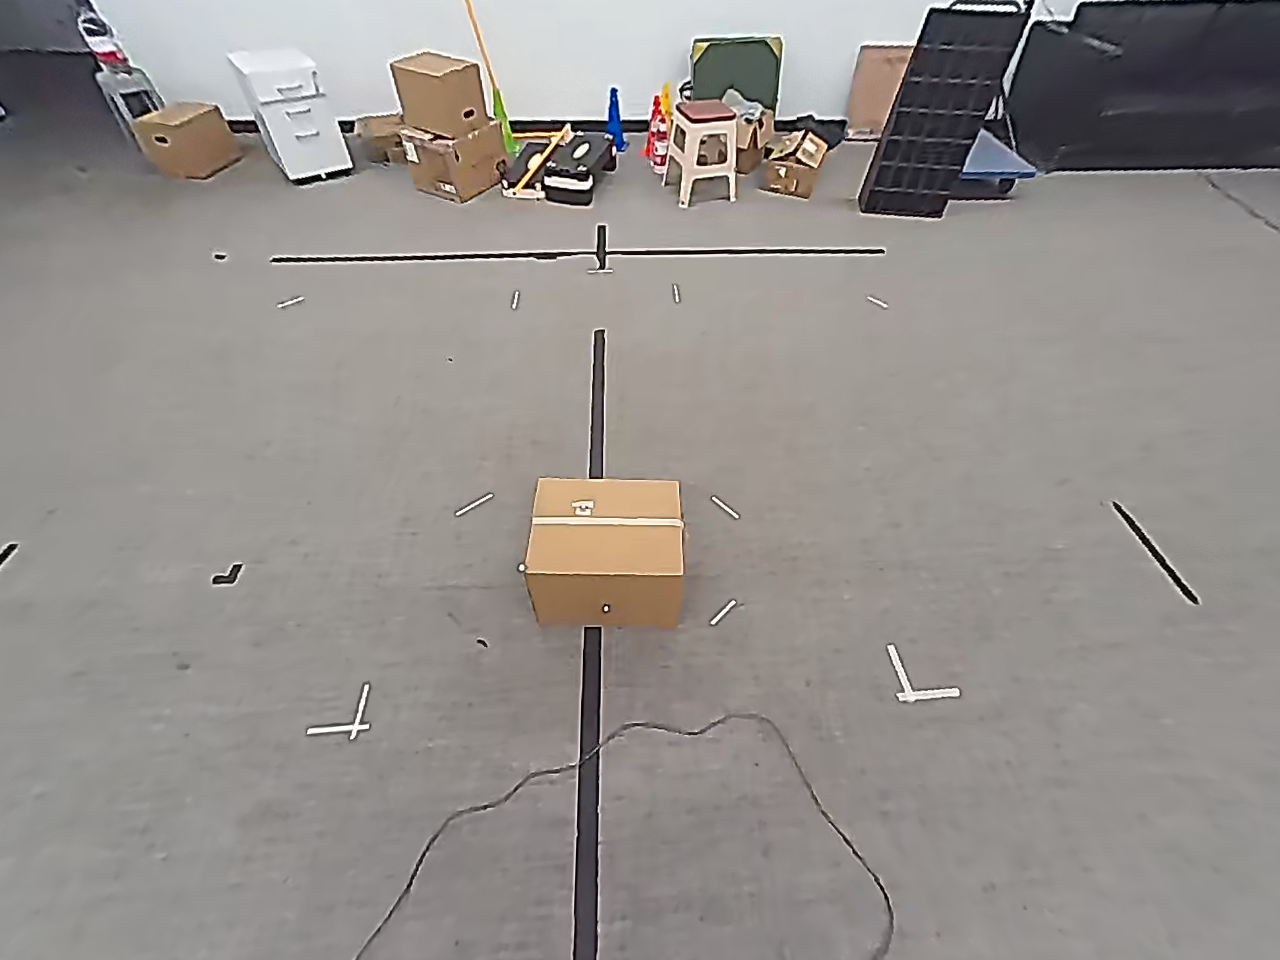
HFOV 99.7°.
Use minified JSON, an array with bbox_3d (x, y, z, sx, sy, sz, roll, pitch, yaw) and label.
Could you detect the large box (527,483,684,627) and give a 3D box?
[{"bbox_3d":[-0.088,0.222,1.572,0.408,0.320,0.320,1,49,0],"label":"large box"}]
